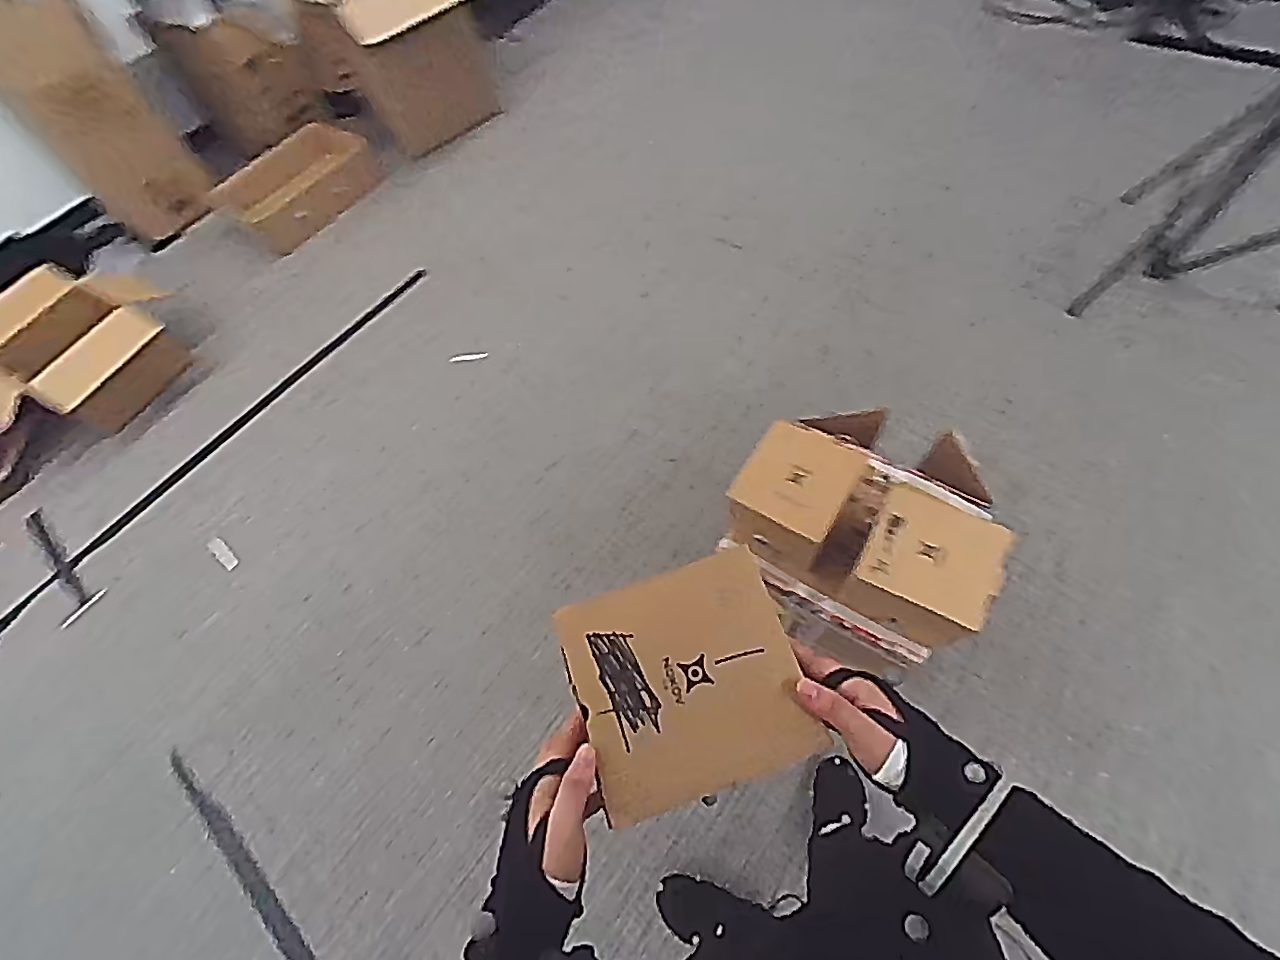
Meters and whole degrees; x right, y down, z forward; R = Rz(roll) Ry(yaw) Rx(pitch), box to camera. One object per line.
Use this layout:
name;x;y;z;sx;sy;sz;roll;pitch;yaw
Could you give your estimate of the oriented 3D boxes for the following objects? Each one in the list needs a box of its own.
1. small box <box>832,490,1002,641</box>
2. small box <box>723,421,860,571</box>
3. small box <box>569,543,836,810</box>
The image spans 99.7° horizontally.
small box;0.436;0.146;0.876;0.179;0.176;0.168;25;72;19
small box;0.263;0.033;0.961;0.168;0.176;0.179;28;74;23
small box;0.050;0.181;0.506;0.179;0.176;0.168;-18;68;-4
